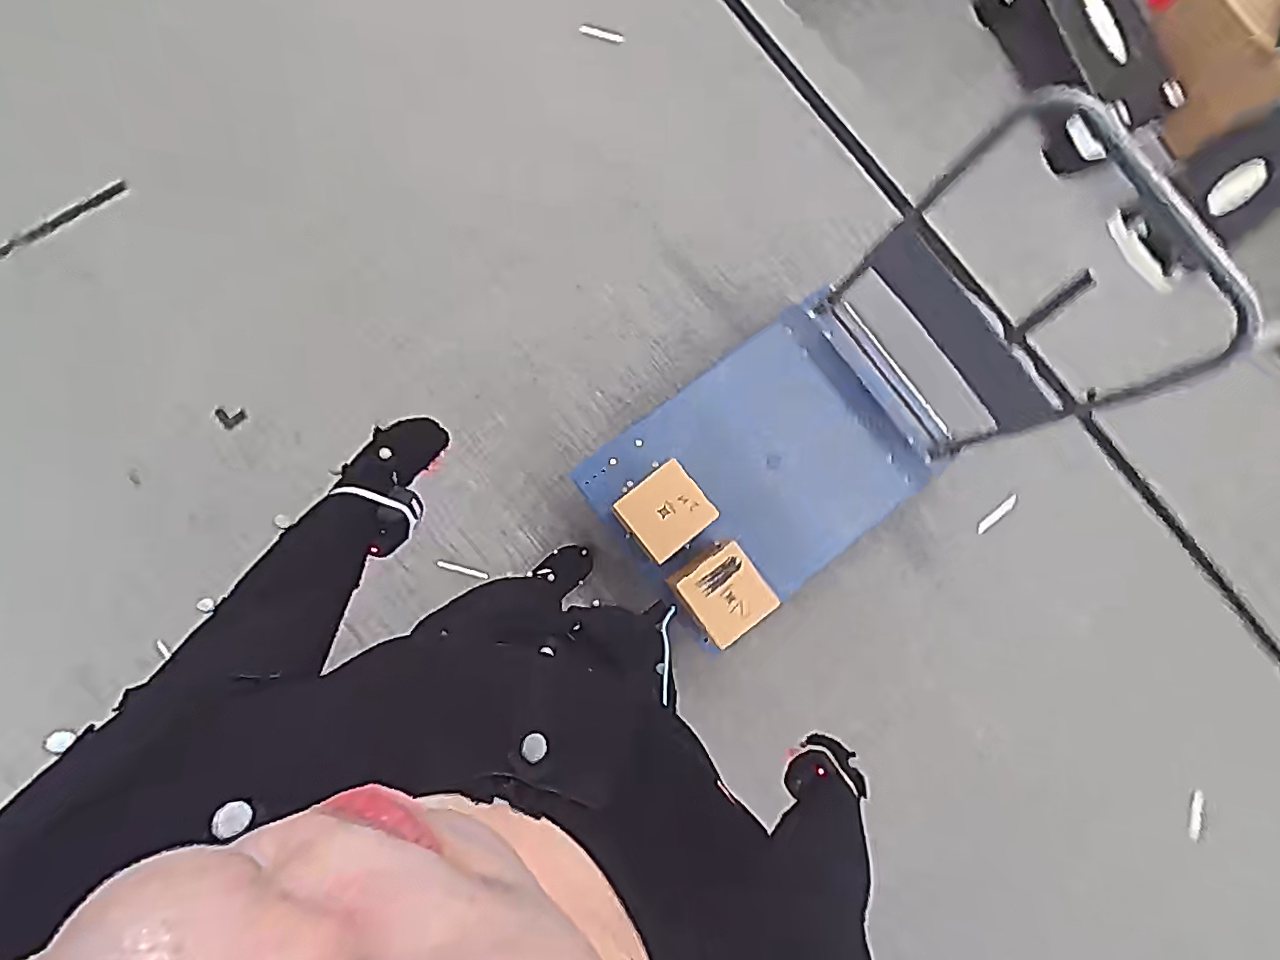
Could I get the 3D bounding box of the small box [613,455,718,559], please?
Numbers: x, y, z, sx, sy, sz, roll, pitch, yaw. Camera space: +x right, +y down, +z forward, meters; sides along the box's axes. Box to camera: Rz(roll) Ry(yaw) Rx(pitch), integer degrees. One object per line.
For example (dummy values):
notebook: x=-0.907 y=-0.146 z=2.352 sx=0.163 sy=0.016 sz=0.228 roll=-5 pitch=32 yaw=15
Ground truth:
small box: x=0.052 y=0.068 z=1.258 sx=0.179 sy=0.176 sz=0.168 roll=-38 pitch=88 yaw=-8
